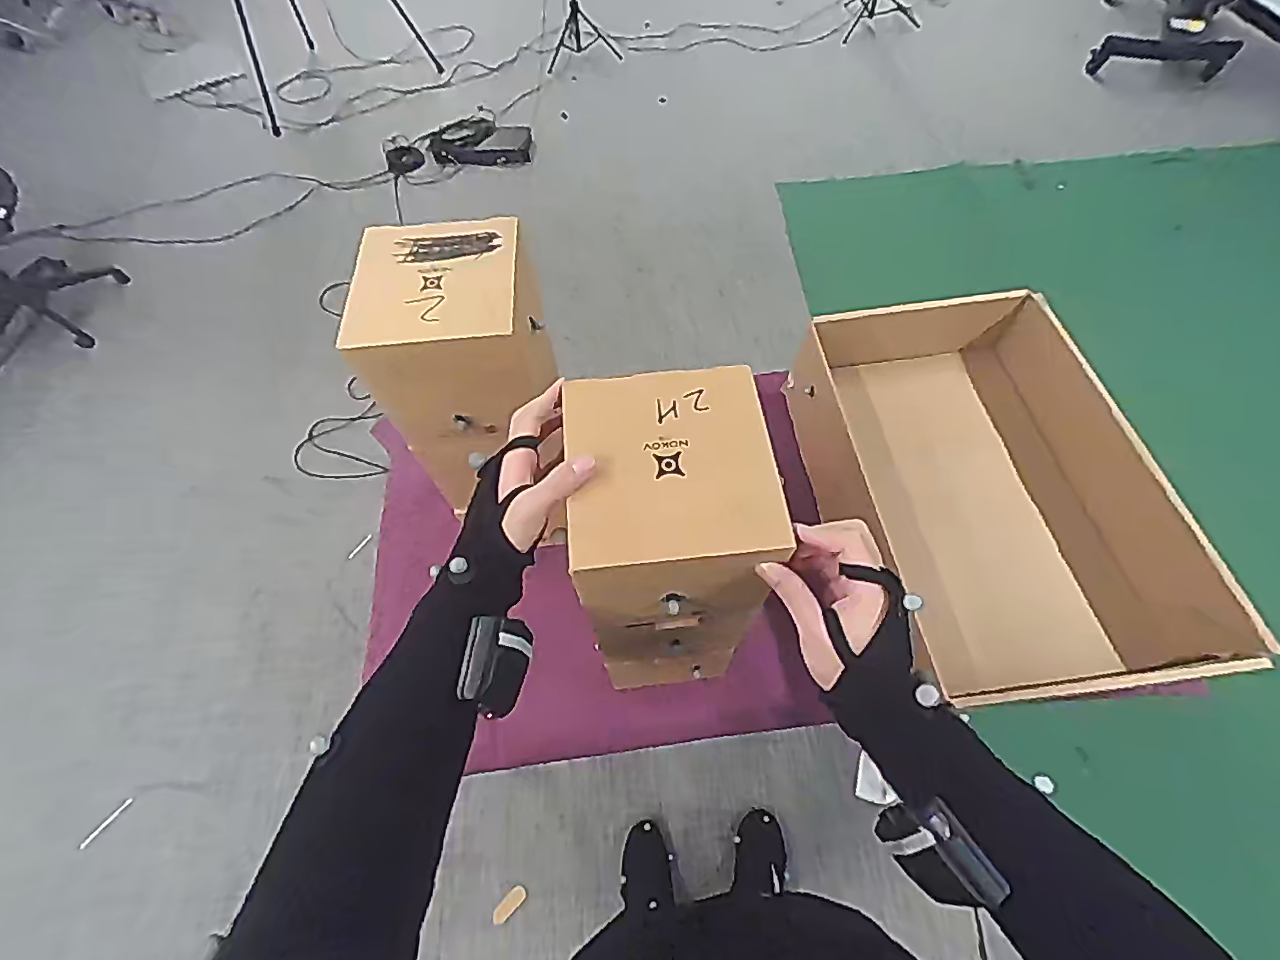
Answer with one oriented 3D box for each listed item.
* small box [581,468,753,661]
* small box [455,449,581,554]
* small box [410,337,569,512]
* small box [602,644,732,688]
[{"bbox_3d":[0.025,0.108,0.639,0.168,0.176,0.179,-6,60,-3],"label":"small box"},{"bbox_3d":[-0.195,0.012,0.894,0.168,0.176,0.179,-8,59,-2],"label":"small box"},{"bbox_3d":[-0.195,-0.073,0.753,0.168,0.176,0.179,-4,60,0],"label":"small box"},{"bbox_3d":[0.031,0.193,0.778,0.168,0.176,0.179,-6,59,-2],"label":"small box"}]
